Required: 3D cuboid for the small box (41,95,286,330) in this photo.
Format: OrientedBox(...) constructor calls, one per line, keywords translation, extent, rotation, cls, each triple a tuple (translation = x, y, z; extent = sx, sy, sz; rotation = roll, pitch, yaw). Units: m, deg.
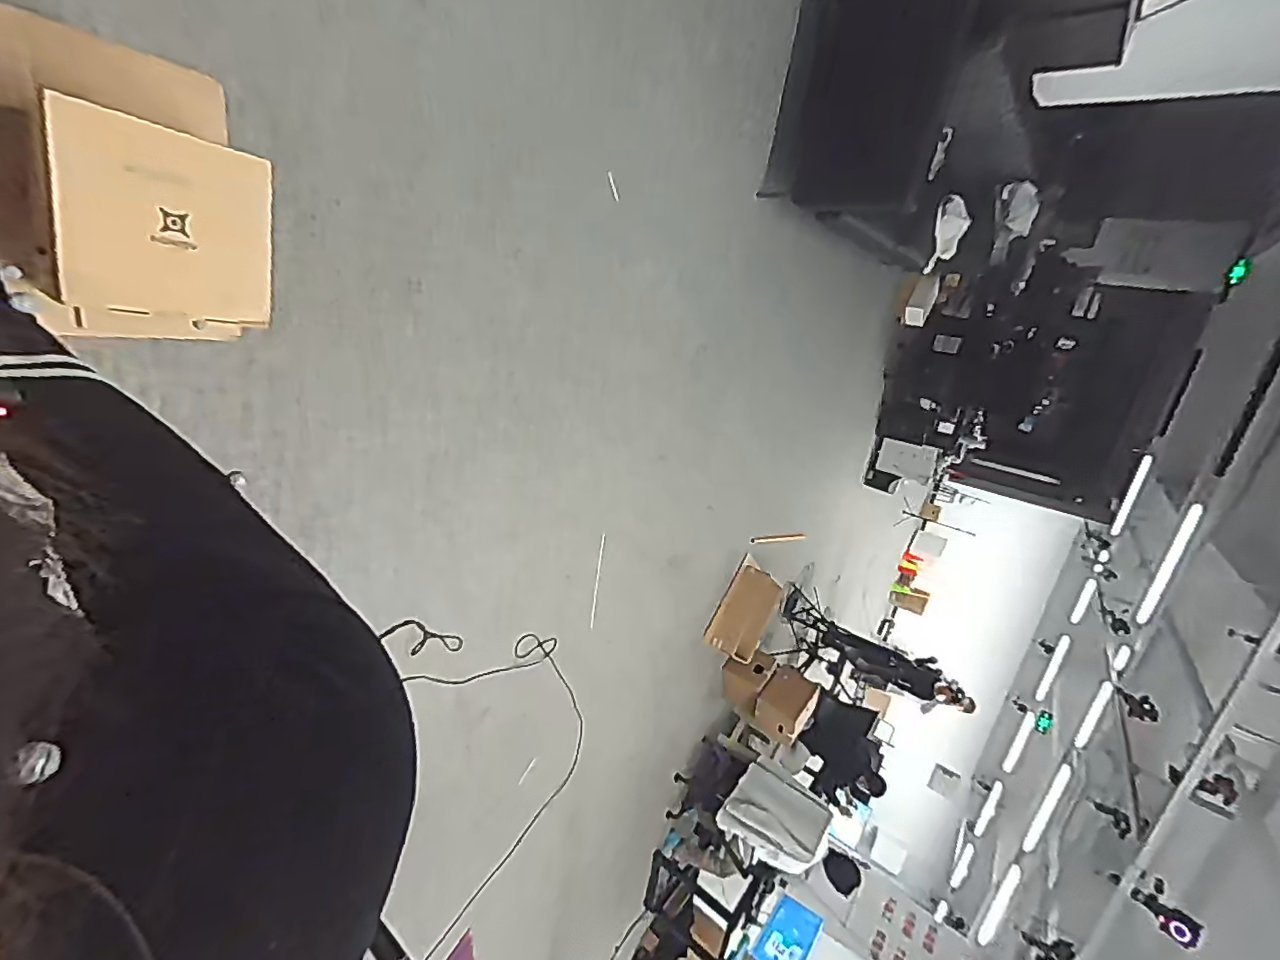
OrientedBox(translation=(-0.504, -0.269, 0.578), extent=(0.168, 0.176, 0.179), rotation=(-9, 113, -51), cls="small box")
